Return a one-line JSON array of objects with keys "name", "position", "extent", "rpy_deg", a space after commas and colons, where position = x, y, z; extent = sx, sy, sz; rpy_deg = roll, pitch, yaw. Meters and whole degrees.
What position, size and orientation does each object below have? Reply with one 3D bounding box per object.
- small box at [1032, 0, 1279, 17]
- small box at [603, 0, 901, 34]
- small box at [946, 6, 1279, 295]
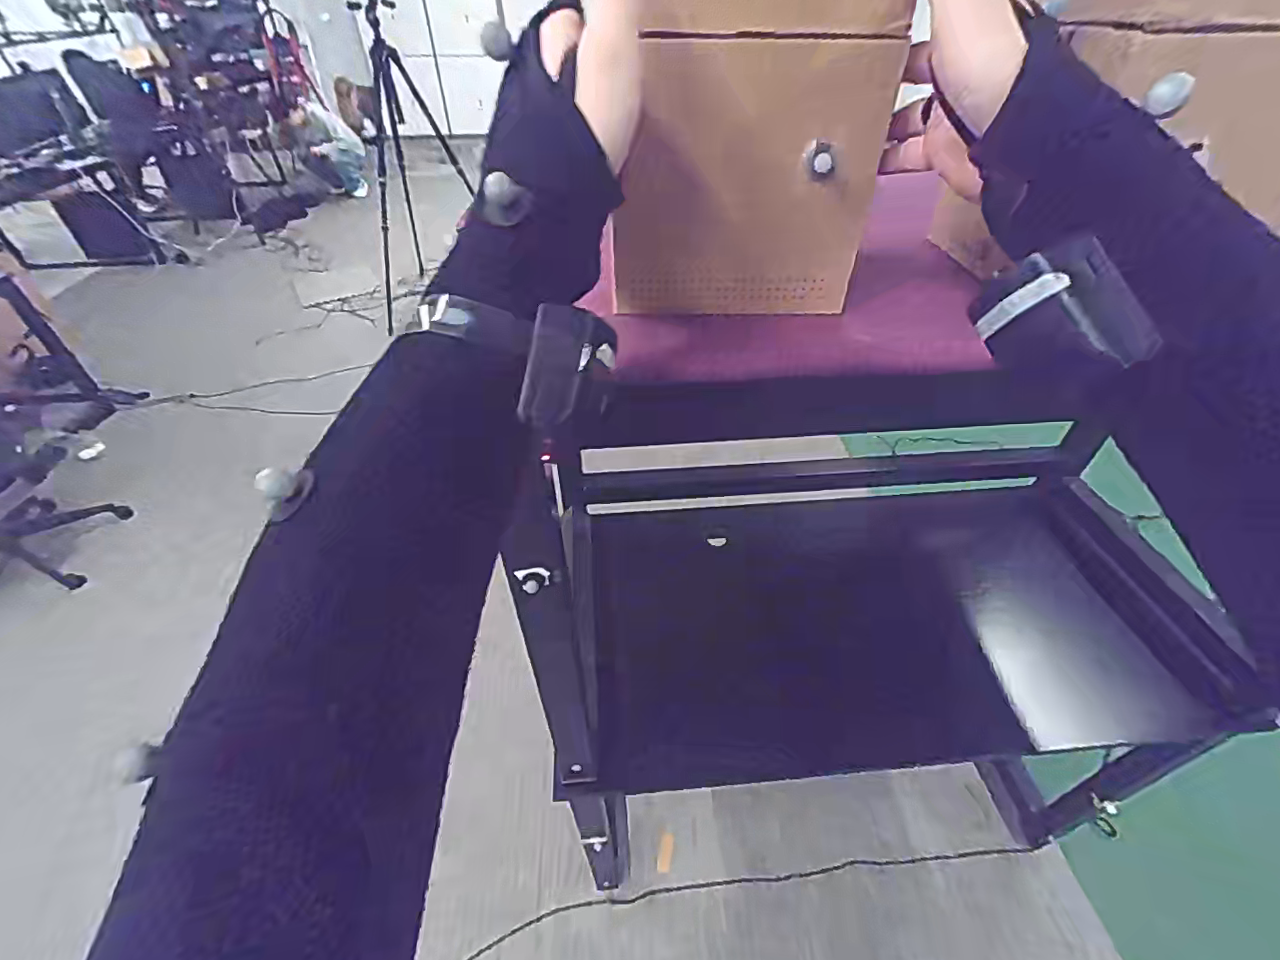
[{"name": "small box", "position": [0.370, -0.376, 0.312], "extent": [0.179, 0.176, 0.168], "rpy_deg": [0, 42, 1]}, {"name": "small box", "position": [0.064, -0.370, 0.312], "extent": [0.179, 0.176, 0.168], "rpy_deg": [1, 41, 0]}, {"name": "small box", "position": [0.369, -0.253, 0.420], "extent": [0.179, 0.176, 0.168], "rpy_deg": [-1, 41, 0]}]
